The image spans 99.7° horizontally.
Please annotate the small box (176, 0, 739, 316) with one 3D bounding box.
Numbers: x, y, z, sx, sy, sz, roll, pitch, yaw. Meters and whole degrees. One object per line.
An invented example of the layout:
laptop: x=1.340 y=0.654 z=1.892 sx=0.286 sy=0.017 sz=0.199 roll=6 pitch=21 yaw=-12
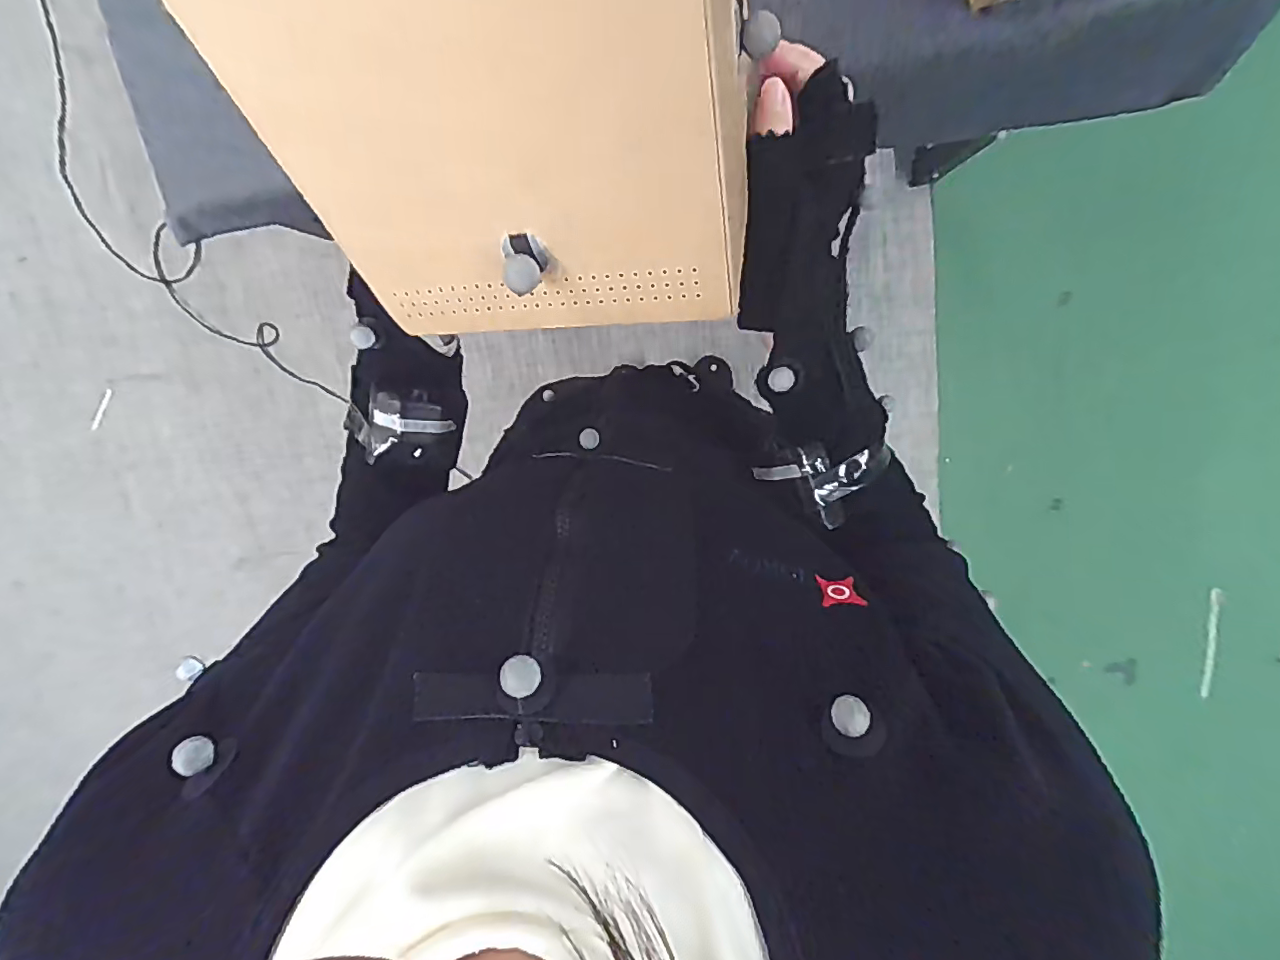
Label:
small box: x=-0.049 y=-0.194 z=0.247 sx=0.179 sy=0.168 sz=0.176 roll=1 pitch=146 yaw=15
